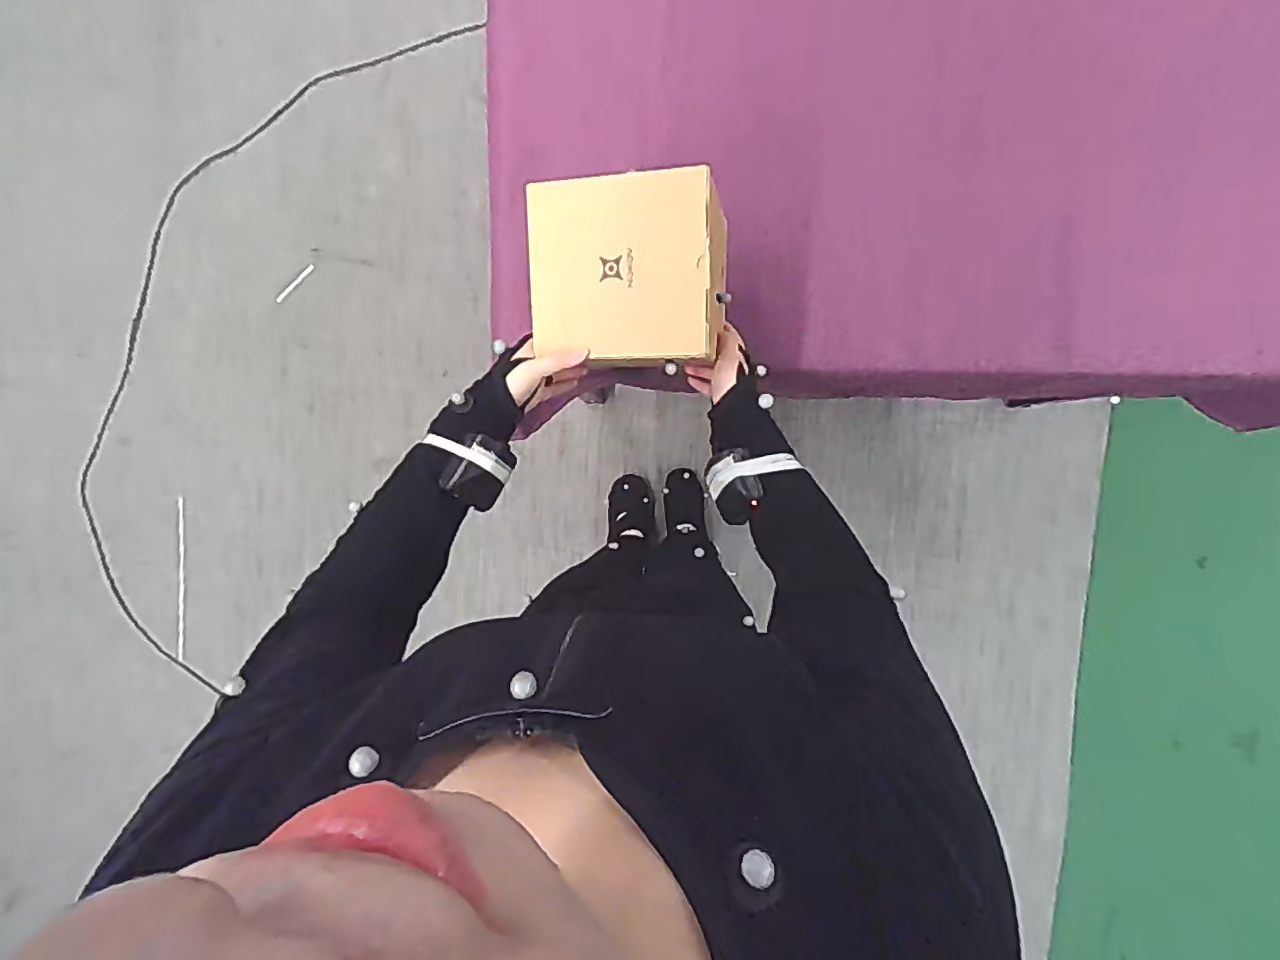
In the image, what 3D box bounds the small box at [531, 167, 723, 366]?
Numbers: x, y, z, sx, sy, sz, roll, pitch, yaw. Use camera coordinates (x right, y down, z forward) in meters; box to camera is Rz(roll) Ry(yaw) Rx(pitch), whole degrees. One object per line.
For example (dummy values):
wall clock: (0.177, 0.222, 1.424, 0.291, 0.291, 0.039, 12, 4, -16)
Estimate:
small box: (-0.004, -0.214, 0.590, 0.179, 0.176, 0.168, 1, 99, 12)
